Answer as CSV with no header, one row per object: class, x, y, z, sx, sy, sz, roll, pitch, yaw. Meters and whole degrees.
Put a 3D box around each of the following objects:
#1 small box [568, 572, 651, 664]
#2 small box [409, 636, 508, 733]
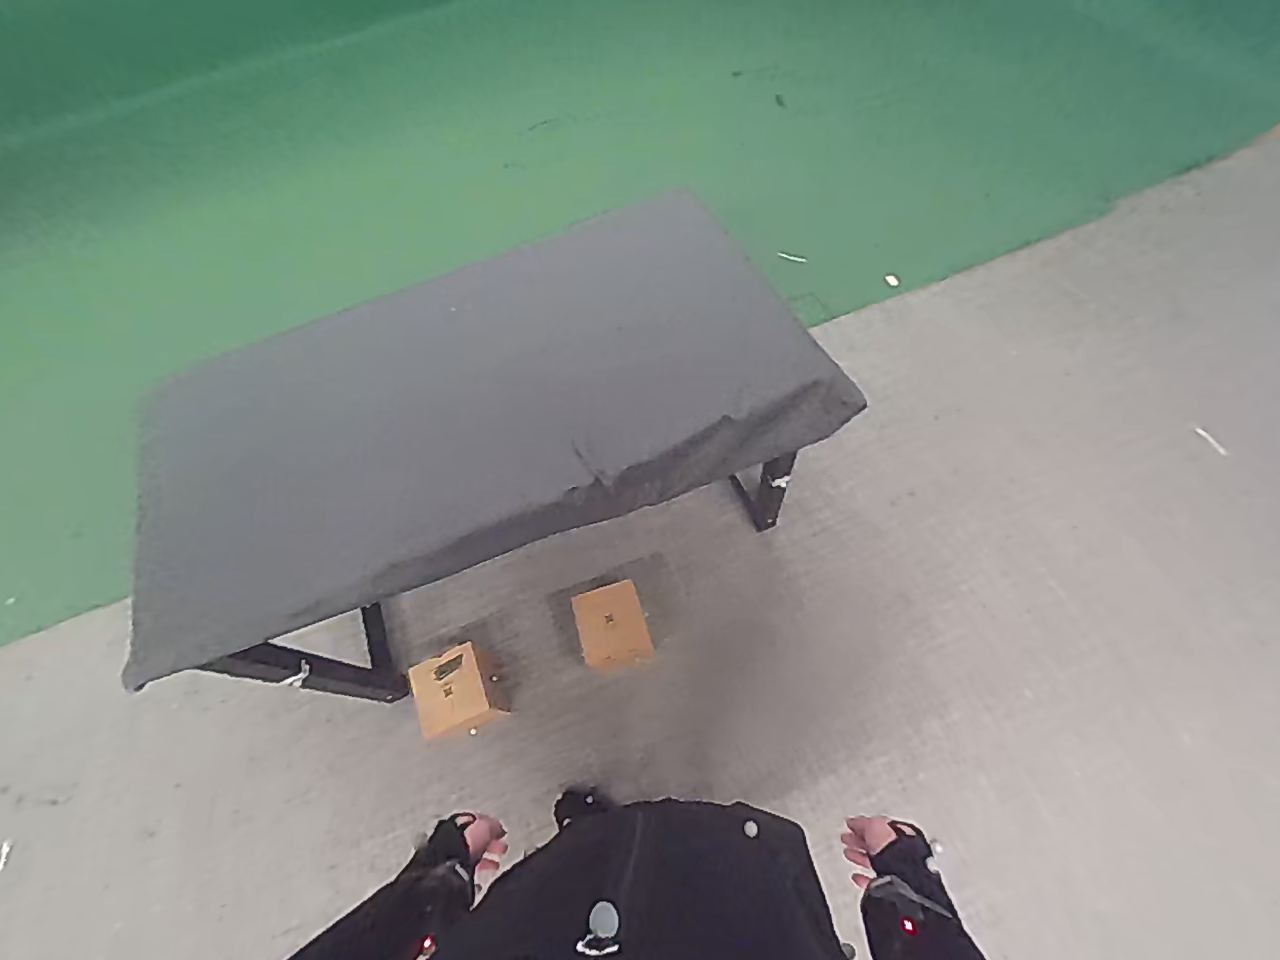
small box,-0.075,0.368,1.413,0.168,0.176,0.179,-18,62,-5
small box,-0.456,0.523,1.372,0.168,0.176,0.179,-24,65,-6
